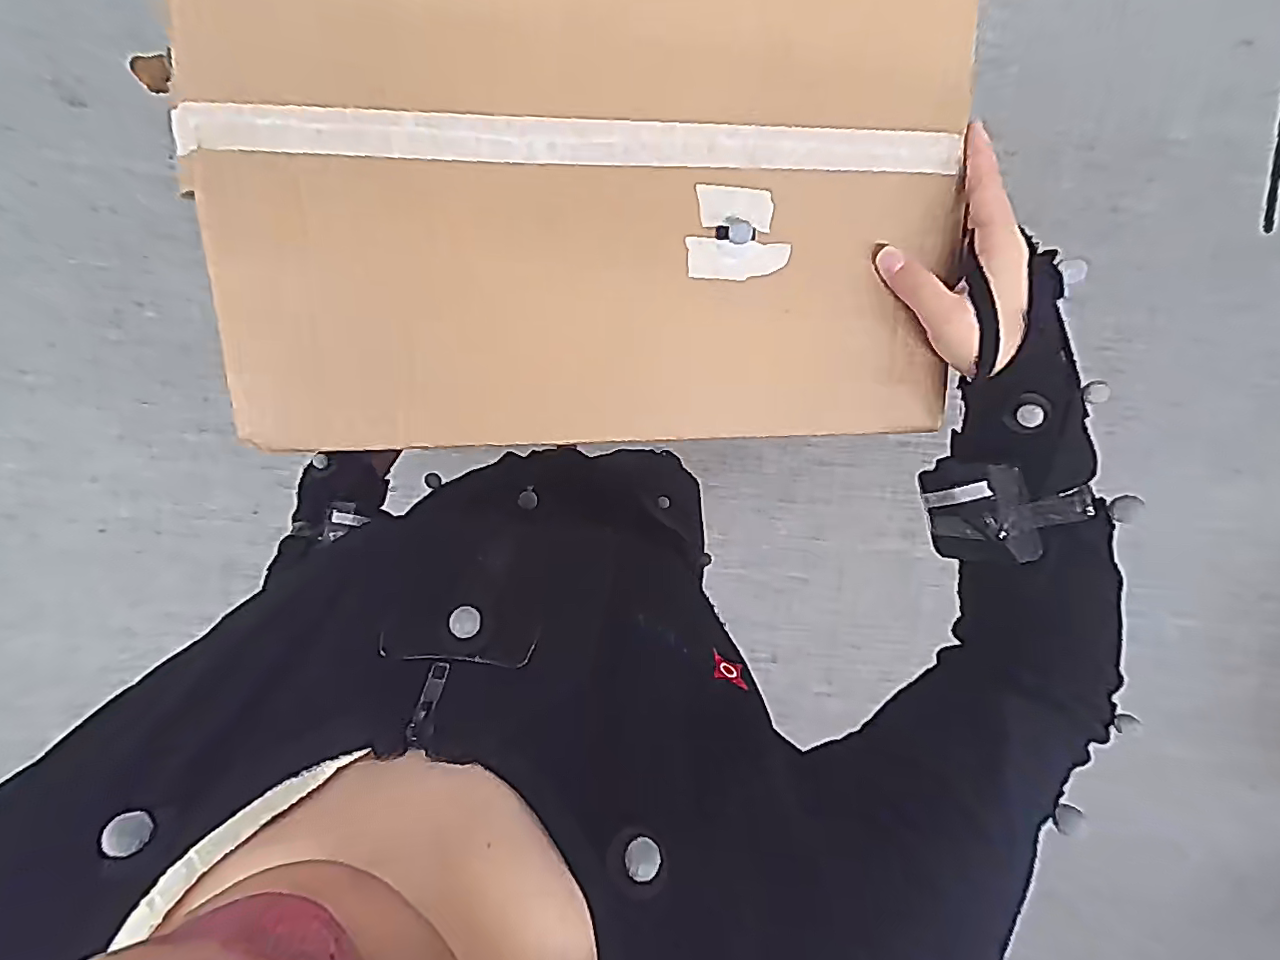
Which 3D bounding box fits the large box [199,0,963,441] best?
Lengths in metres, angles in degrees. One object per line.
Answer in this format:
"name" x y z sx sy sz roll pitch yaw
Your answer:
"large box" -0.037 -0.208 0.437 0.408 0.320 0.320 -2 101 -9
